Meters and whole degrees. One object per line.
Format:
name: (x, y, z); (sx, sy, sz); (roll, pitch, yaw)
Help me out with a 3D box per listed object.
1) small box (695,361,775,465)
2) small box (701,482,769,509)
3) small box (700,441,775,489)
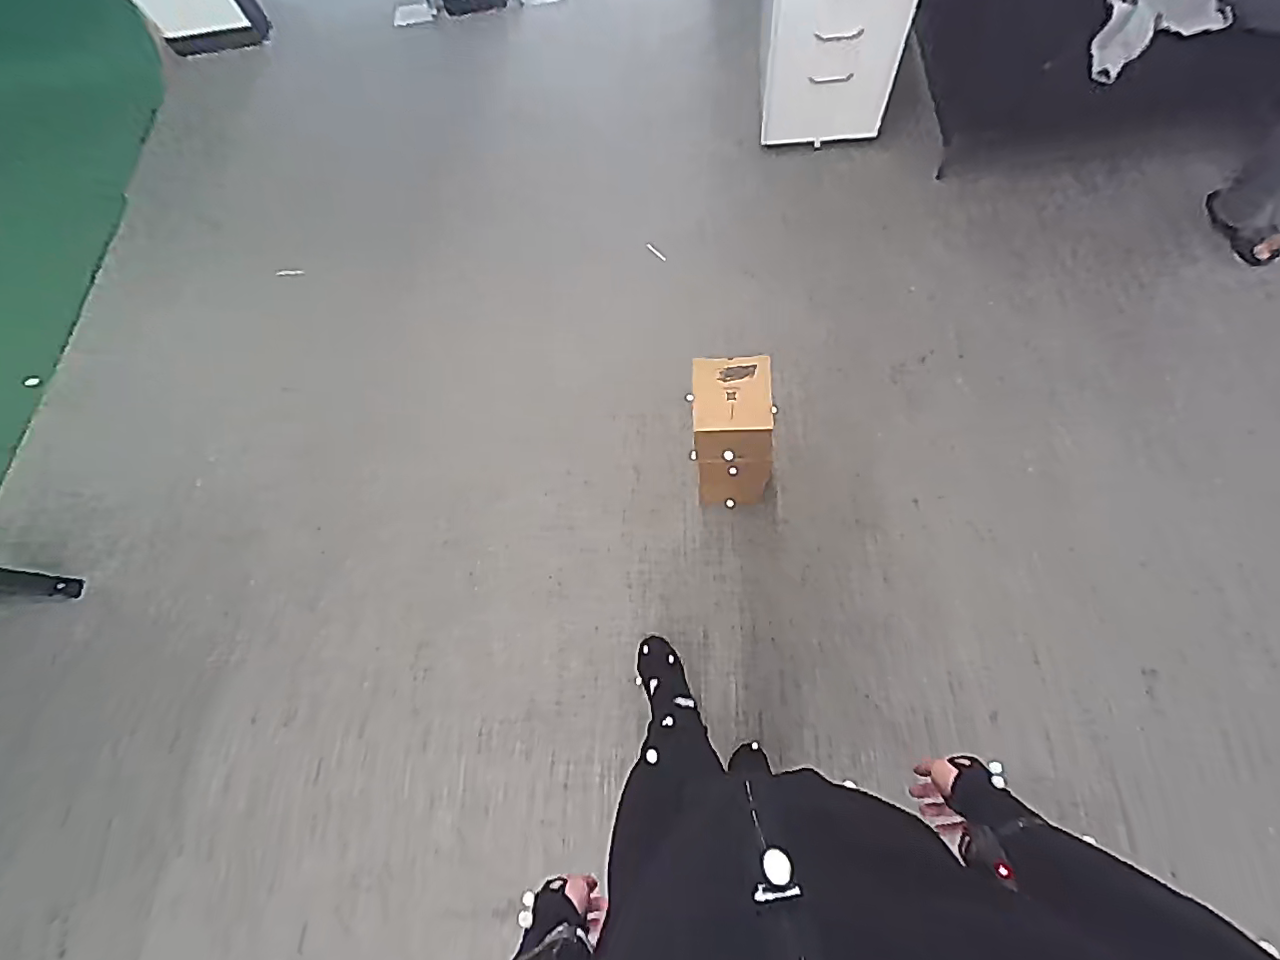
small box: (0.209, -0.146, 1.210); (0.168, 0.176, 0.179); (-1, 70, 8)
small box: (0.259, -0.023, 1.509); (0.179, 0.176, 0.168); (0, 68, 7)
small box: (0.239, -0.080, 1.358); (0.179, 0.176, 0.168); (-1, 69, 6)
